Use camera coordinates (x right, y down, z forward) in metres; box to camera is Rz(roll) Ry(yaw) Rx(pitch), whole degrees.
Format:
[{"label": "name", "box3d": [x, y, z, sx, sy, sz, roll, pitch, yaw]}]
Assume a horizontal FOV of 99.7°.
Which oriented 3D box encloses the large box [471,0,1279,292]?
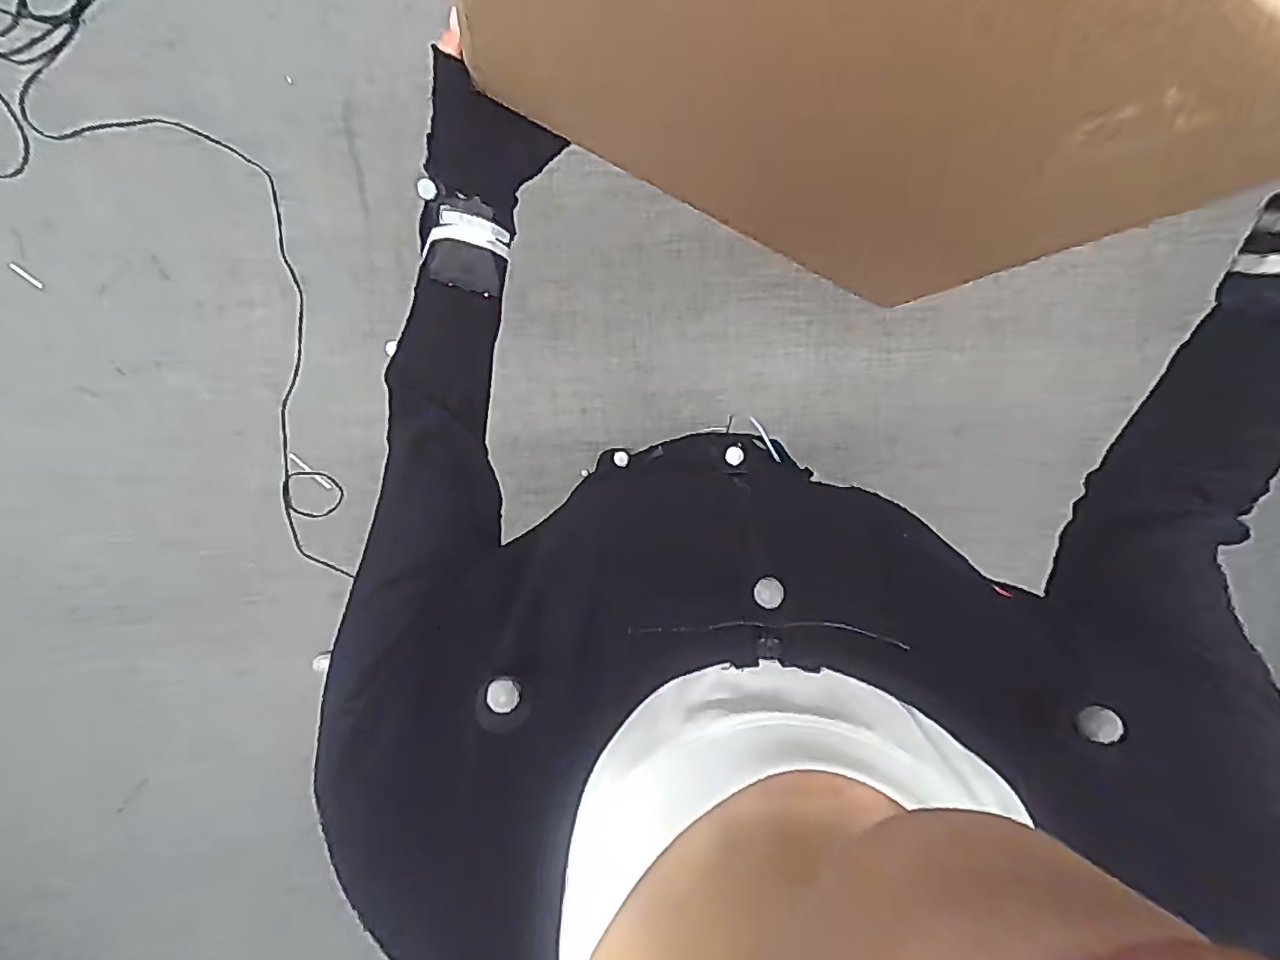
[{"label": "large box", "box3d": [0.139, -0.366, 0.312, 0.408, 0.320, 0.320, 21, 91, -14]}]
